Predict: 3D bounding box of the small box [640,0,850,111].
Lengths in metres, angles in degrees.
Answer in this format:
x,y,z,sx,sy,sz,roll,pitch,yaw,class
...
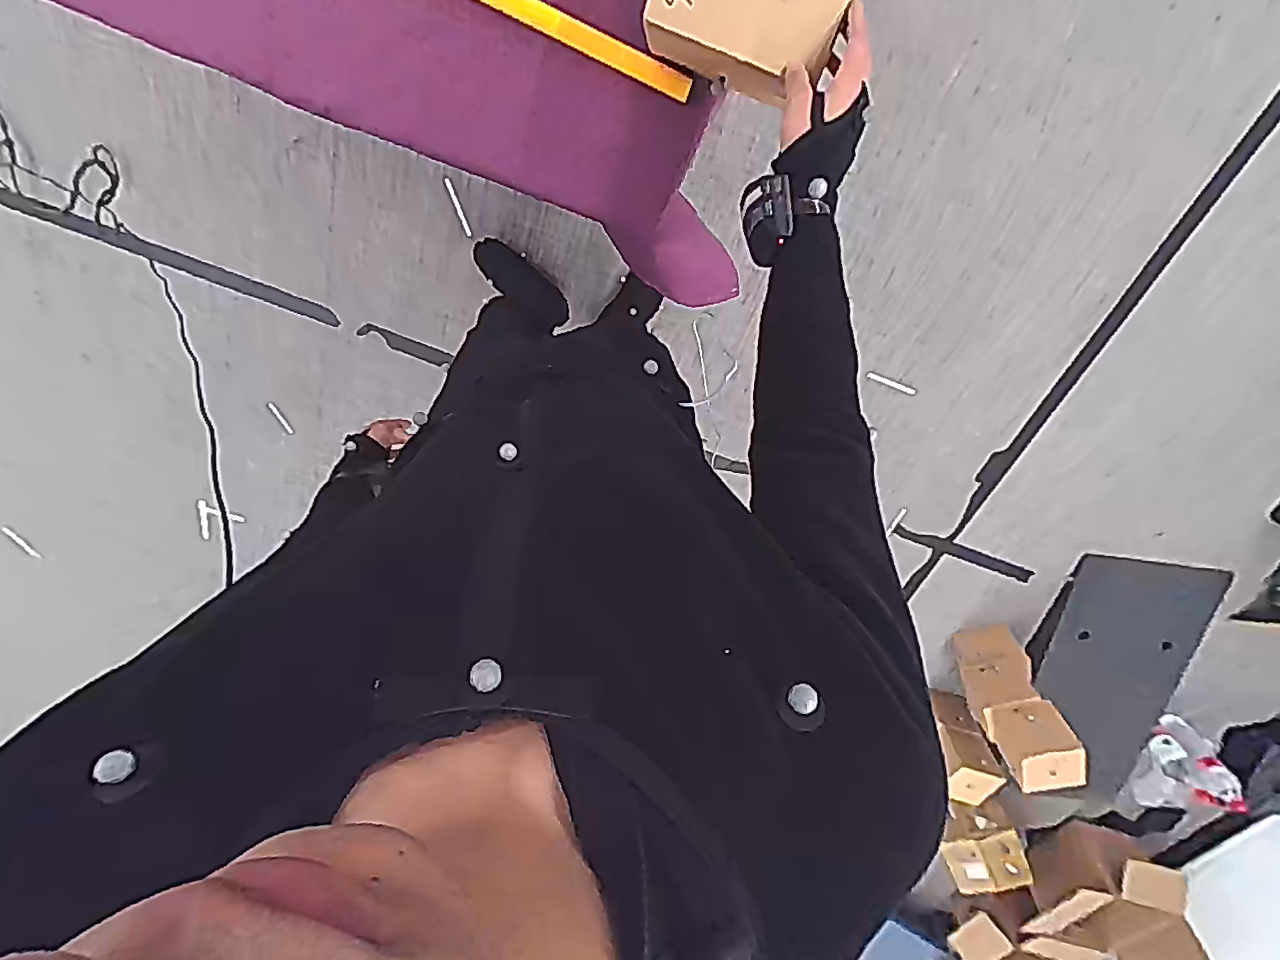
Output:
x,y,z,sx,sy,sz,roll,pitch,yaw,class
0.112,-0.497,0.546,0.179,0.176,0.168,19,119,-6,small box
